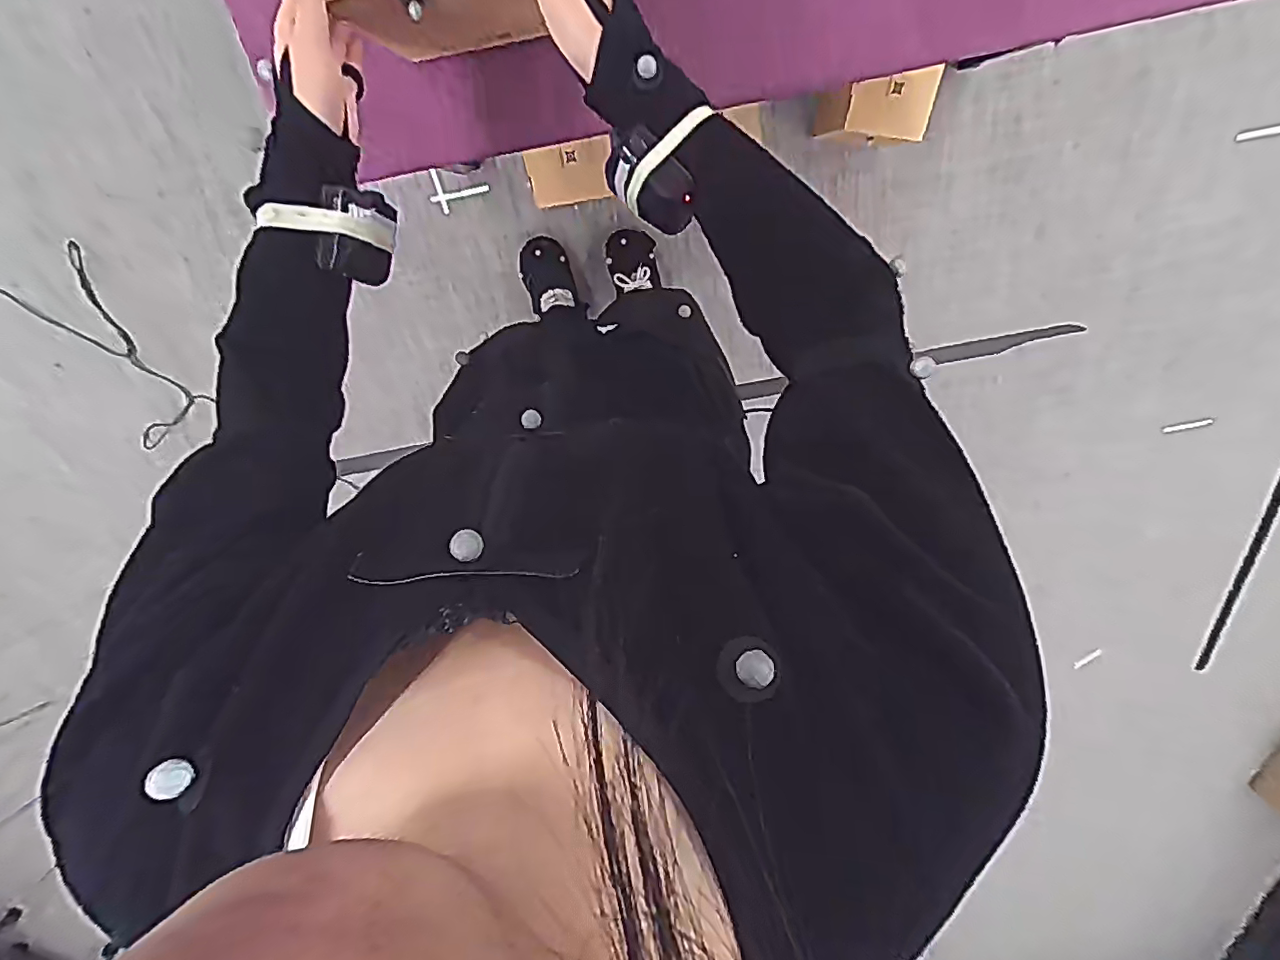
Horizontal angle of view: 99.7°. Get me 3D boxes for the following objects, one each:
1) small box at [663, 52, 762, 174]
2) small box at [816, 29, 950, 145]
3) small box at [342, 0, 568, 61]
[{"bbox_3d":[0.148,-0.758,1.134,0.168,0.176,0.179,-12,119,1],"label":"small box"},{"bbox_3d":[0.500,-0.816,1.140,0.179,0.176,0.168,4,118,-6],"label":"small box"},{"bbox_3d":[-0.160,-0.465,0.418,0.168,0.176,0.179,-8,115,5],"label":"small box"}]
